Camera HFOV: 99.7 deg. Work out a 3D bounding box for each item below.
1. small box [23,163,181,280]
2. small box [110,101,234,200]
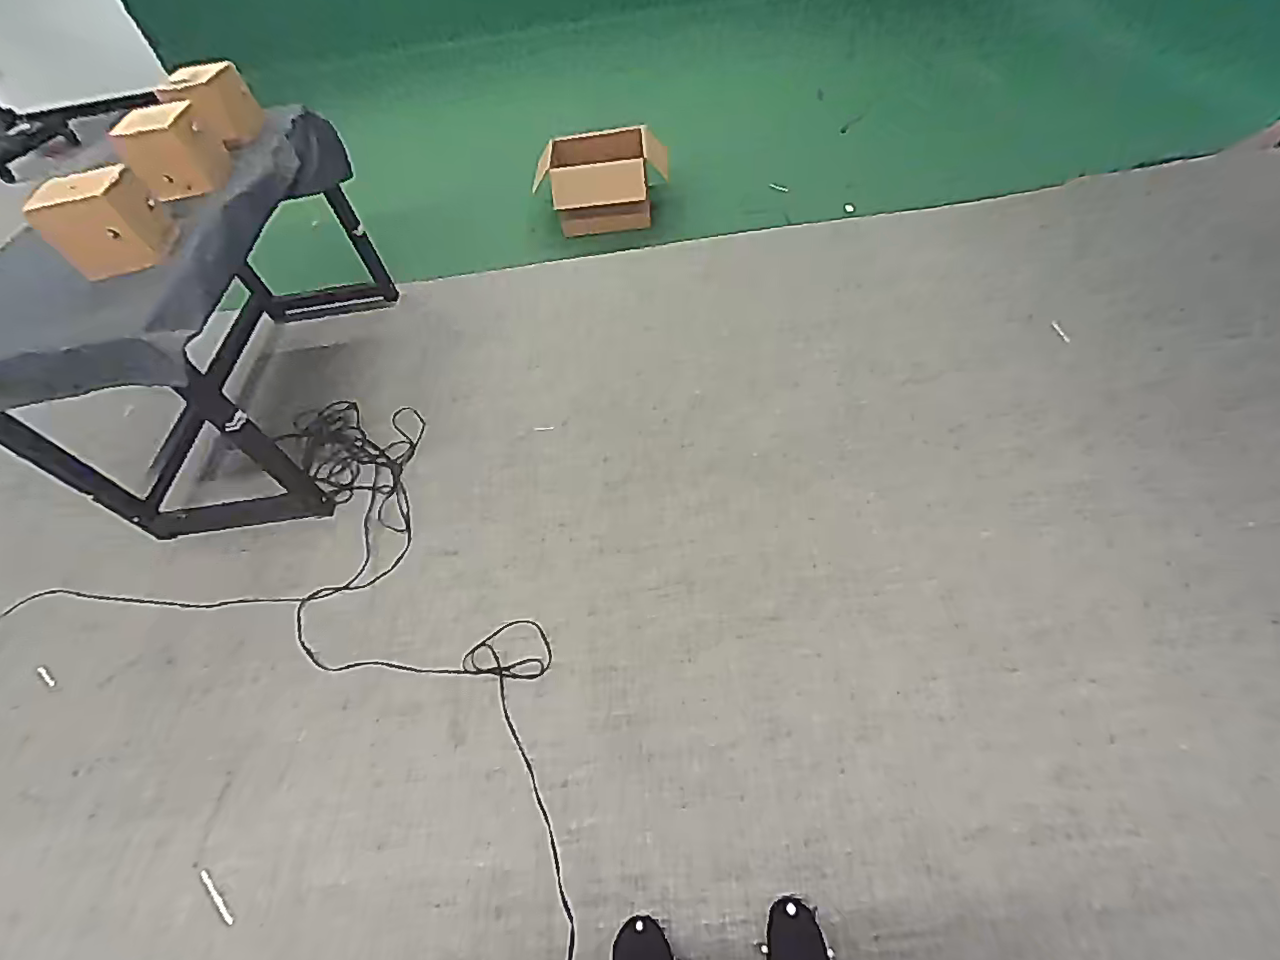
[{"bbox_3d":[-1.227,-0.595,1.252,0.179,0.176,0.168,-17,52,-3],"label":"small box"},{"bbox_3d":[-1.259,-0.896,1.474,0.168,0.176,0.179,-10,55,1],"label":"small box"}]
